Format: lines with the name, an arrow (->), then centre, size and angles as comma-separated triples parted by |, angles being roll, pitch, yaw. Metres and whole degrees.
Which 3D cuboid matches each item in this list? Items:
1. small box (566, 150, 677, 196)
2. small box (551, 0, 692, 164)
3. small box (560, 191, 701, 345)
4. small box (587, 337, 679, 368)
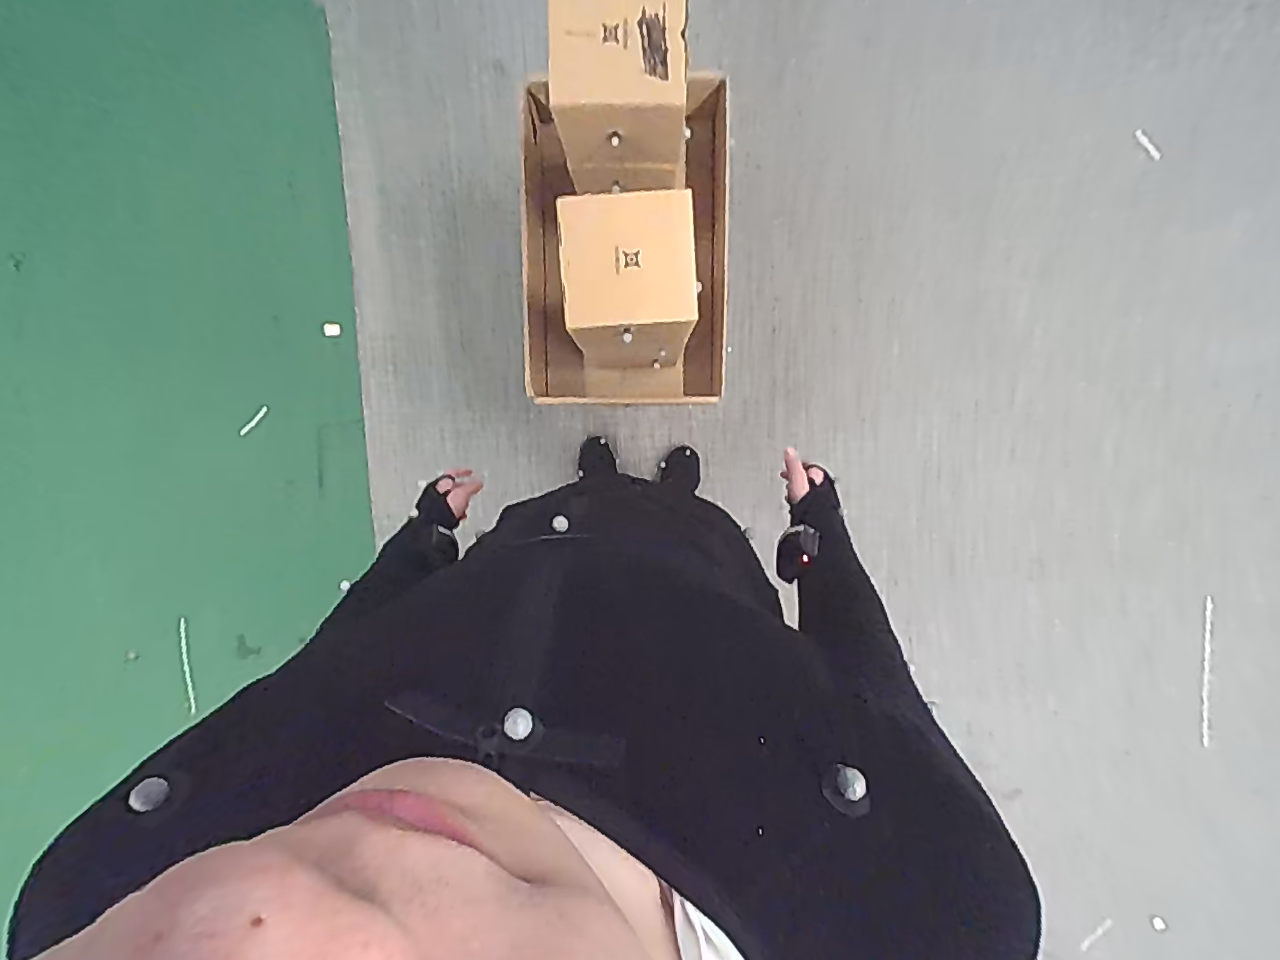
small box -> -0.024, -0.580, 0.913 | 0.179, 0.176, 0.168 | 2, 97, 1
small box -> -0.024, -0.562, 0.749 | 0.179, 0.176, 0.168 | 1, 97, 1
small box -> -0.012, -0.292, 0.774 | 0.179, 0.176, 0.168 | -4, 96, 1
small box -> -0.015, -0.322, 1.099 | 0.179, 0.176, 0.168 | -1, 95, 0
